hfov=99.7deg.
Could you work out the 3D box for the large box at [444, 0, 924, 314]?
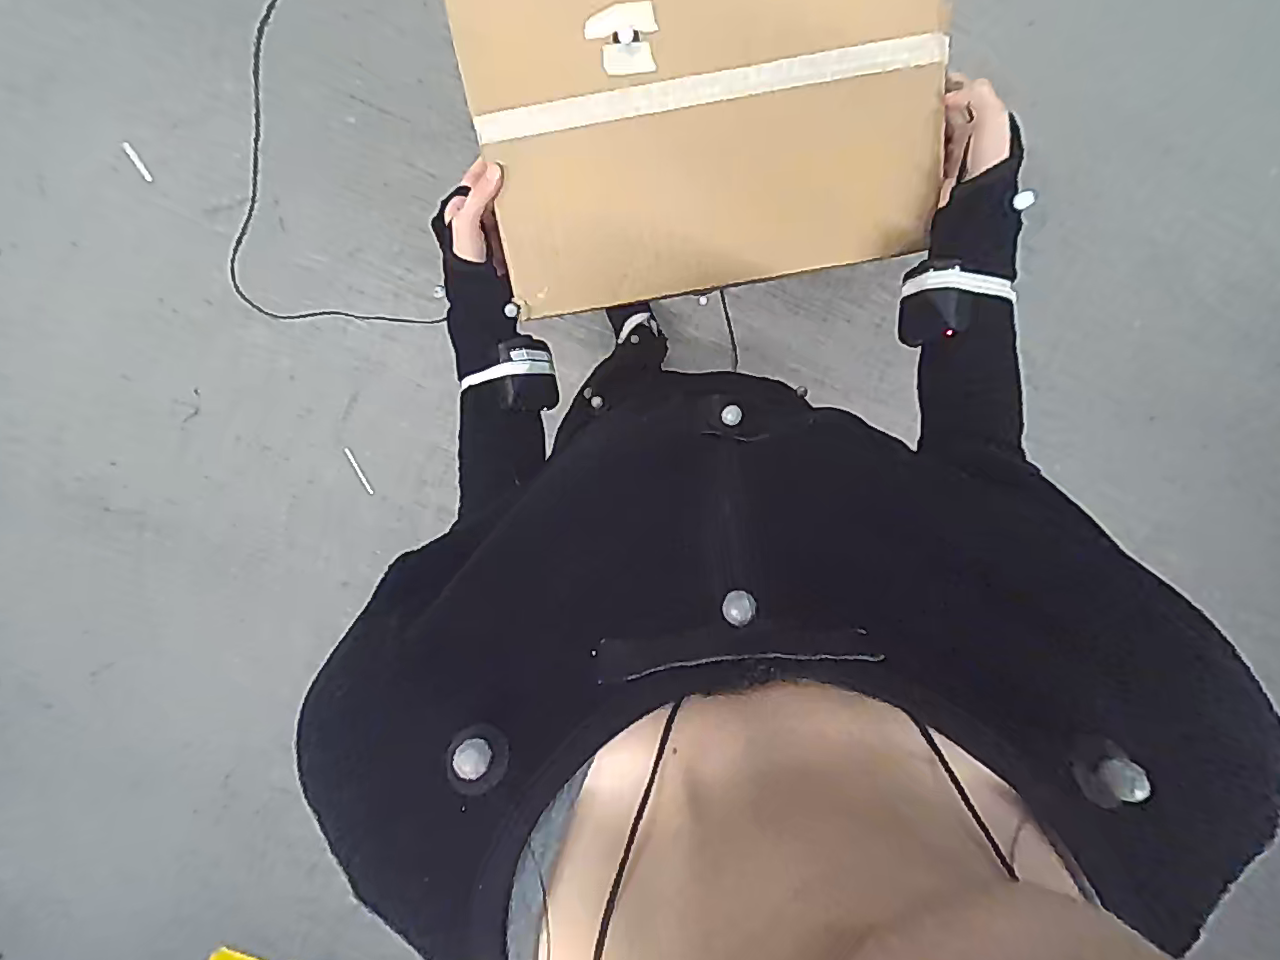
[{"bbox_3d":[0.047,-0.388,0.615,0.408,0.320,0.320,-10,108,1],"label":"large box"}]
